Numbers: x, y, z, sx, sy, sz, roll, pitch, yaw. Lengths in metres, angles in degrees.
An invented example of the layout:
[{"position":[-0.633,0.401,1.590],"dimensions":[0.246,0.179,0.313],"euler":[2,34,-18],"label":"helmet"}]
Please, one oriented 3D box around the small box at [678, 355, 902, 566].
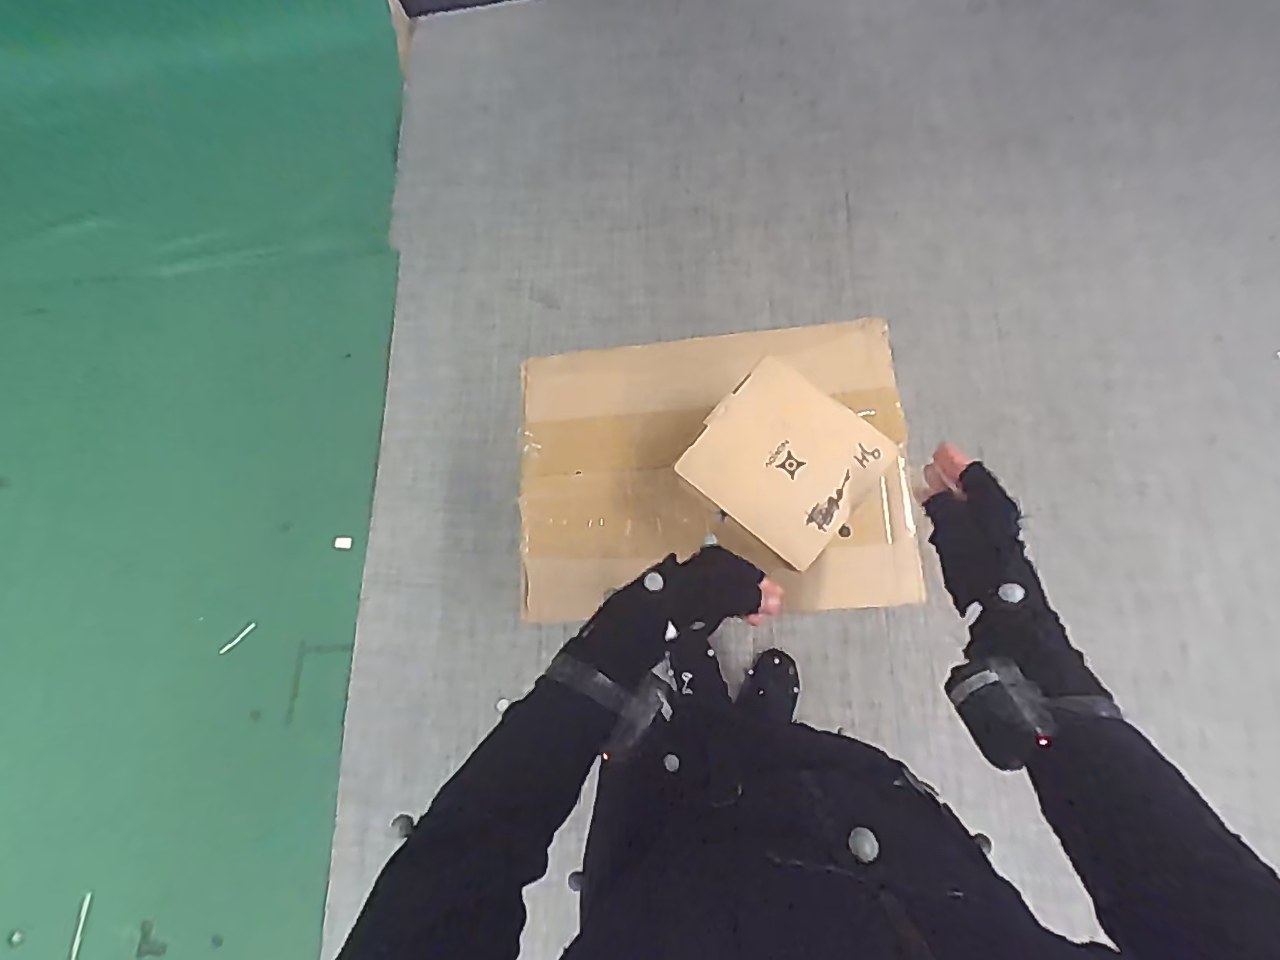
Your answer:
[{"position":[0.166,-0.012,0.650],"dimensions":[0.179,0.176,0.168],"euler":[39,88,11],"label":"small box"}]
